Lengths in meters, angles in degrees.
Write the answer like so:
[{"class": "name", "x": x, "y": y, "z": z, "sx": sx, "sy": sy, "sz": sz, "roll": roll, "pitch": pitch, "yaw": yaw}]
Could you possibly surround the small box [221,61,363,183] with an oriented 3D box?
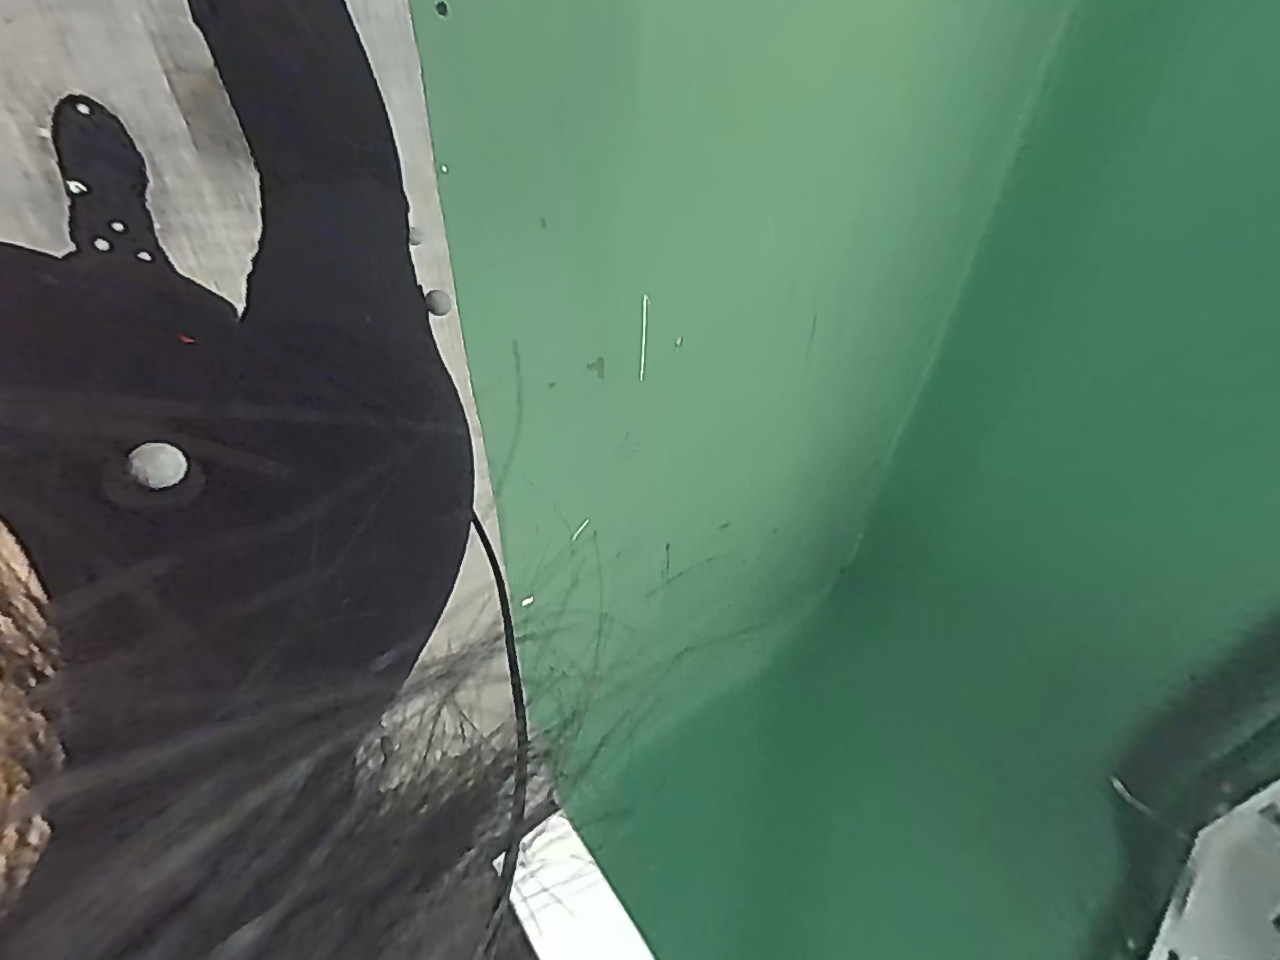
[{"class": "small box", "x": -0.652, "y": -0.676, "z": 1.019, "sx": 0.168, "sy": 0.176, "sz": 0.179, "roll": -25, "pitch": 134, "yaw": -30}]
